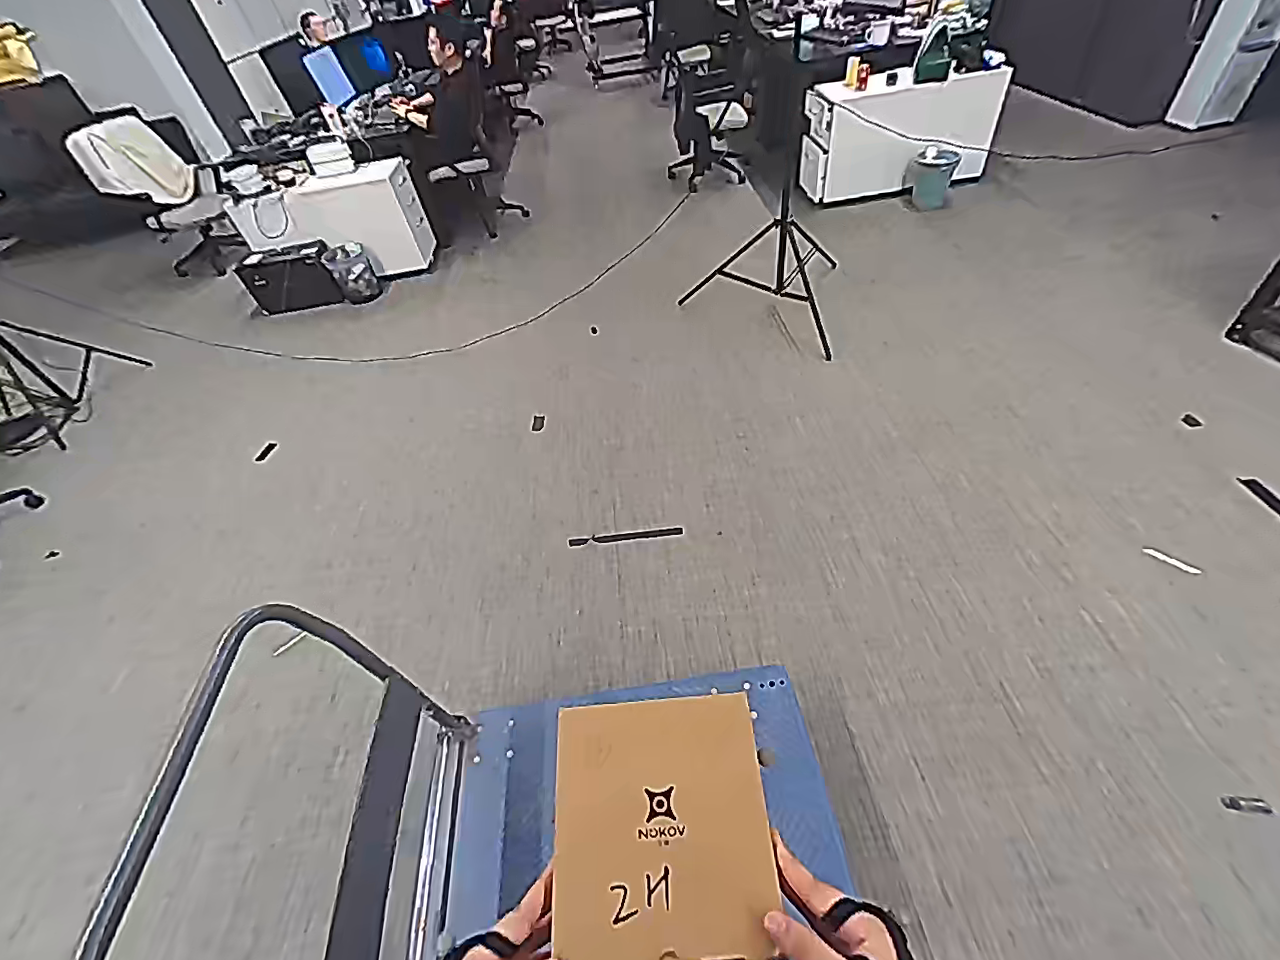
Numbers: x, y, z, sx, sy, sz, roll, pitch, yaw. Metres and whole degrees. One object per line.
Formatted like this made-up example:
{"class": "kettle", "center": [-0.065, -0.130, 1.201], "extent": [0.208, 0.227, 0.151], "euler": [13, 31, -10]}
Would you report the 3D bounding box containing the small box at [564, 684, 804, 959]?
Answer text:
{"class": "small box", "center": [0.033, 0.300, 0.477], "extent": [0.168, 0.176, 0.179], "euler": [-7, 52, 3]}
